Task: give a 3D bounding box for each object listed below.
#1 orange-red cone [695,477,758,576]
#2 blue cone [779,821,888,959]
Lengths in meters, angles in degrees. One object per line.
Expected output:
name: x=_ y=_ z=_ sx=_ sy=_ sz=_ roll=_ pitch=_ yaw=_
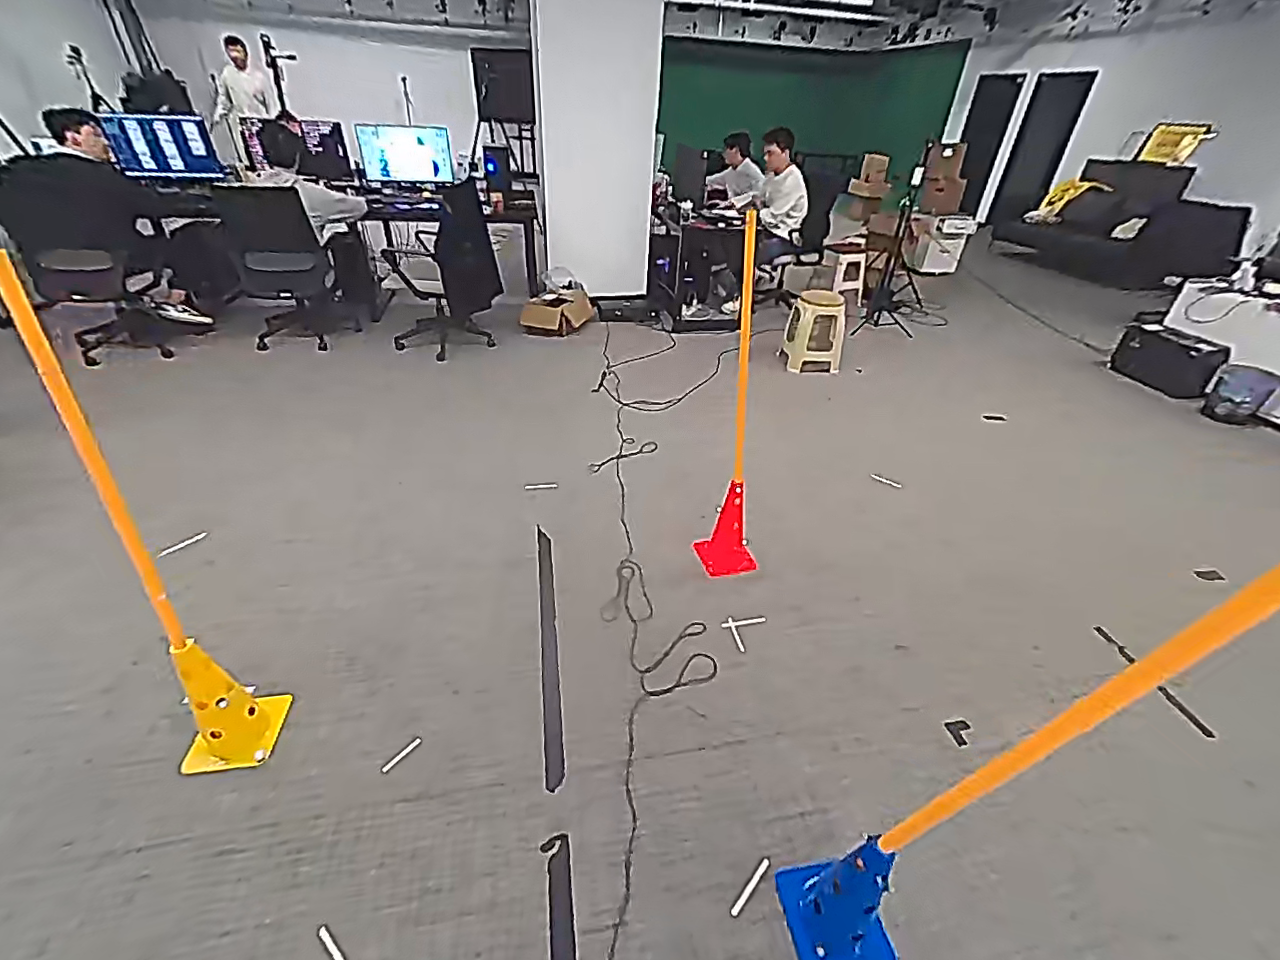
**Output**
orange-red cone: x=0.331 y=0.147 z=1.962 sx=0.199 sy=0.360 sz=0.198 roll=-8 pitch=35 yaw=-13
blue cone: x=0.416 y=0.787 z=1.057 sx=0.193 sy=0.380 sz=0.192 roll=-2 pitch=34 yaw=-8
